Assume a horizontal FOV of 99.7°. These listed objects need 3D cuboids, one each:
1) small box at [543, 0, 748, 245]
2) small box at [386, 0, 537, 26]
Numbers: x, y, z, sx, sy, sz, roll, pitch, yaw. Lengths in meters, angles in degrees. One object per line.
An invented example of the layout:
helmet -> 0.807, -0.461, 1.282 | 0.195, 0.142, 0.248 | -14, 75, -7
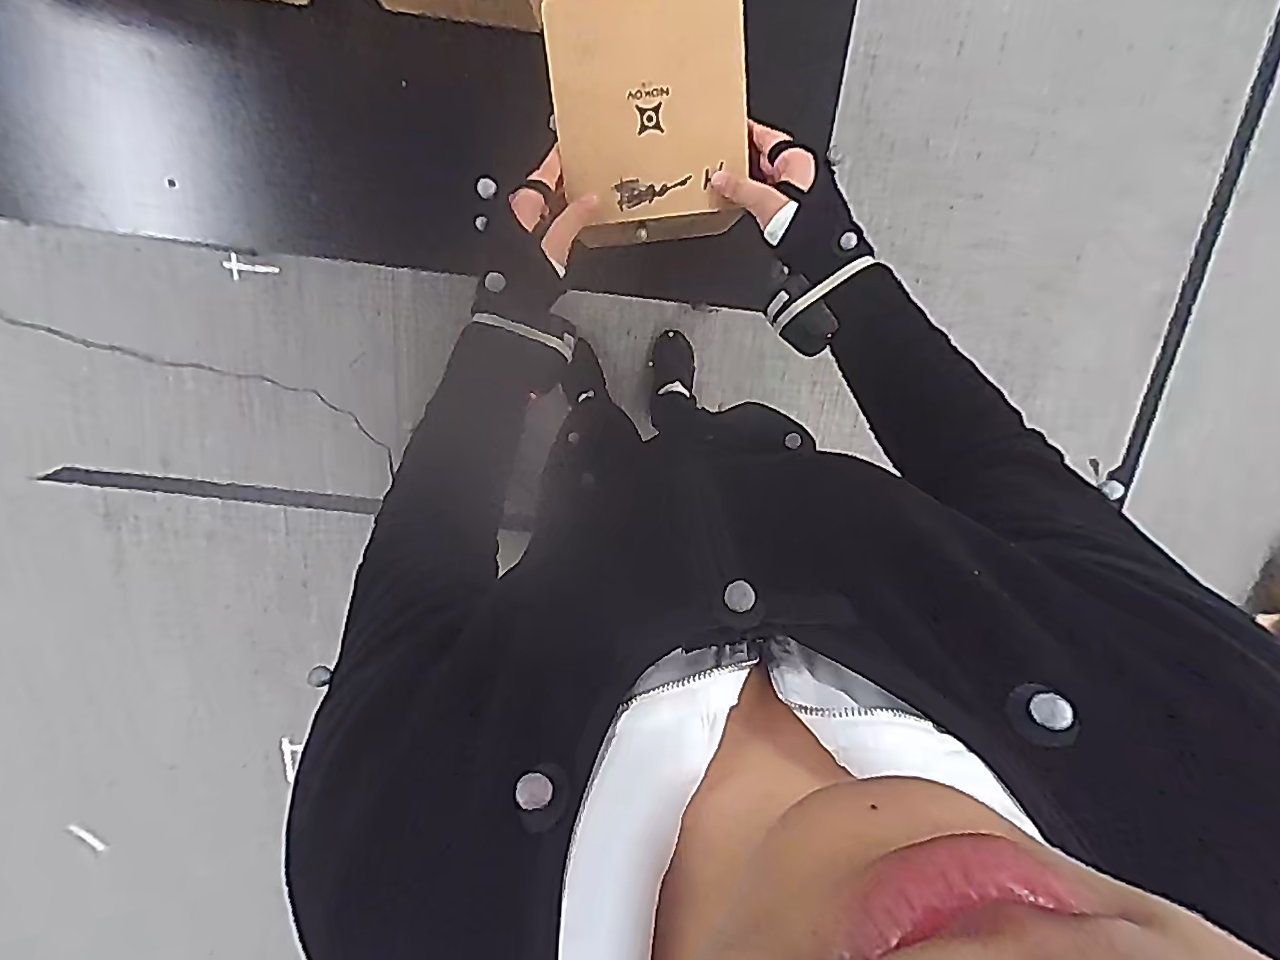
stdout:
small box -> 0.008, -0.344, 0.537 | 0.168, 0.176, 0.179 | -6, 108, 2
small box -> -0.186, -0.570, 0.505 | 0.179, 0.176, 0.168 | 6, 105, -2
